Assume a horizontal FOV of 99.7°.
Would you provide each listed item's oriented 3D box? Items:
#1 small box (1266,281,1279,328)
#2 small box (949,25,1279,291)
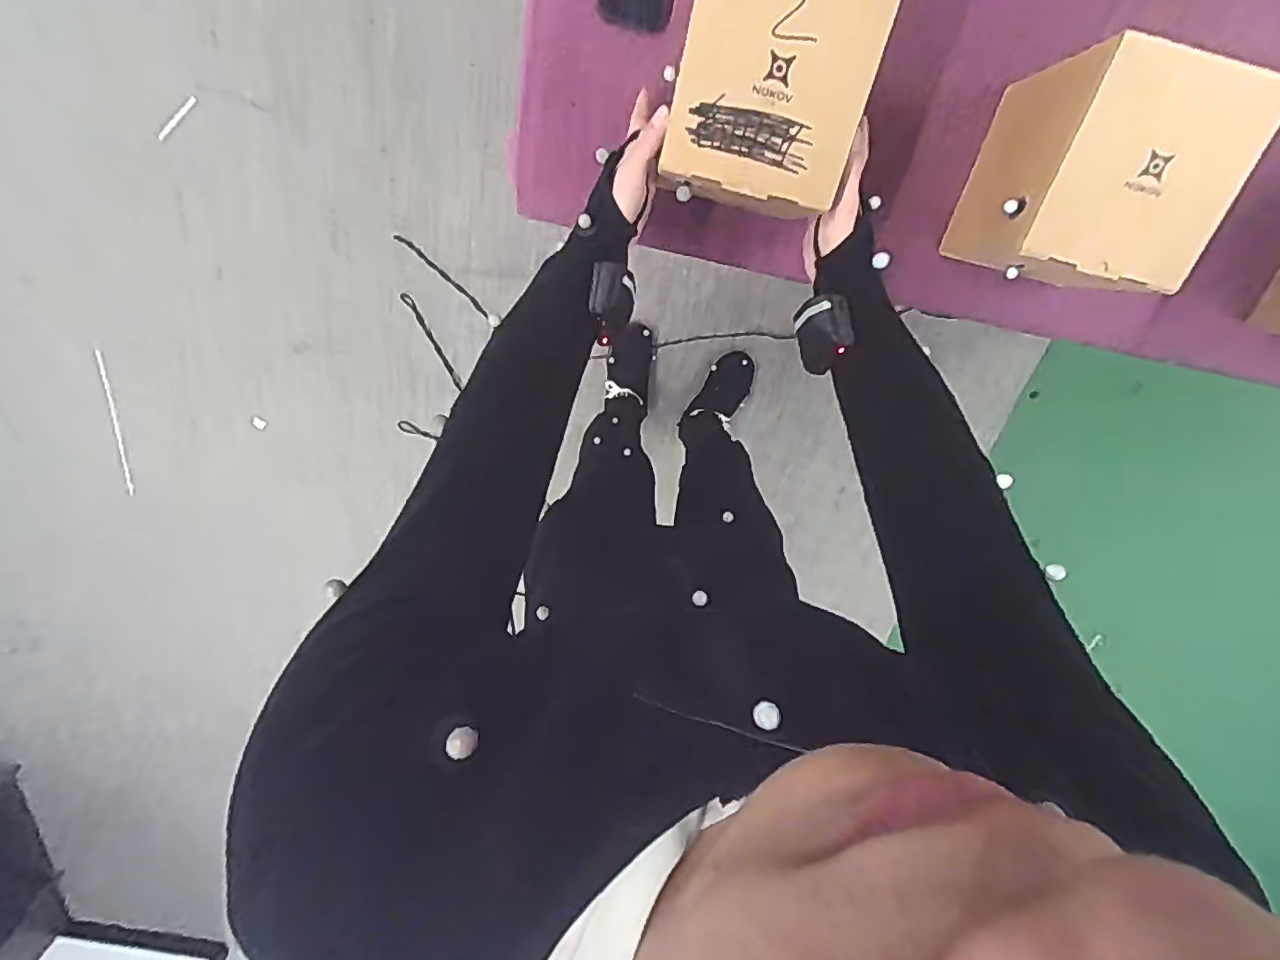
[{"bbox_3d":[0.842,-0.223,0.557,0.168,0.176,0.179,11,116,0],"label":"small box"},{"bbox_3d":[0.454,-0.306,0.548,0.168,0.176,0.179,13,114,-2],"label":"small box"}]
